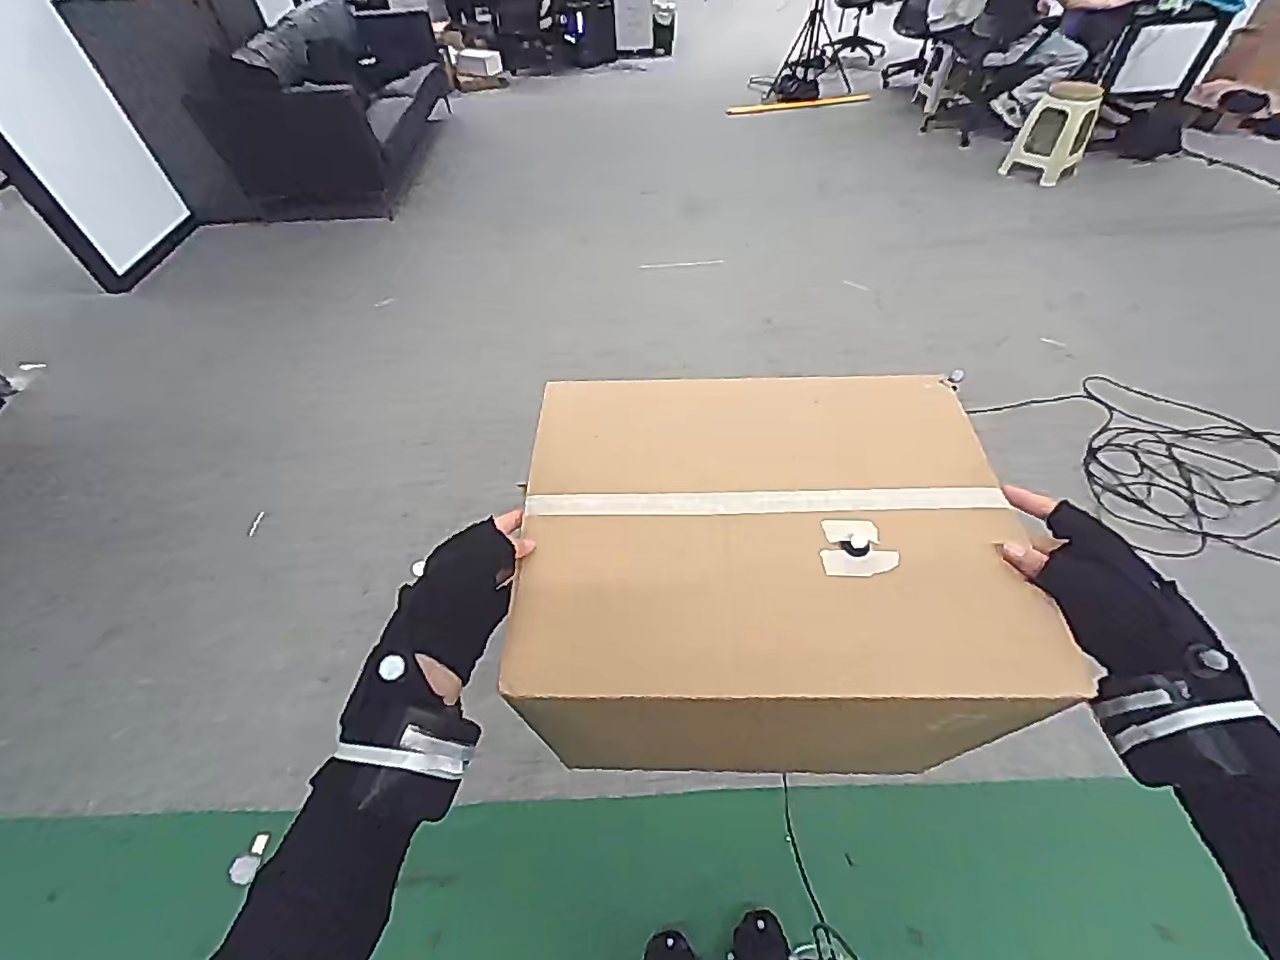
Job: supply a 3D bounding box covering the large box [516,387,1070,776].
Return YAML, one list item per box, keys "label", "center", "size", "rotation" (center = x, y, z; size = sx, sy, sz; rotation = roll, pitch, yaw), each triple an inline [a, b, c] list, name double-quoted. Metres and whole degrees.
- label: "large box"
  center: [0.110, 0.122, 0.590]
  size: [0.408, 0.320, 0.320]
  rotation: [-1, 54, 2]
